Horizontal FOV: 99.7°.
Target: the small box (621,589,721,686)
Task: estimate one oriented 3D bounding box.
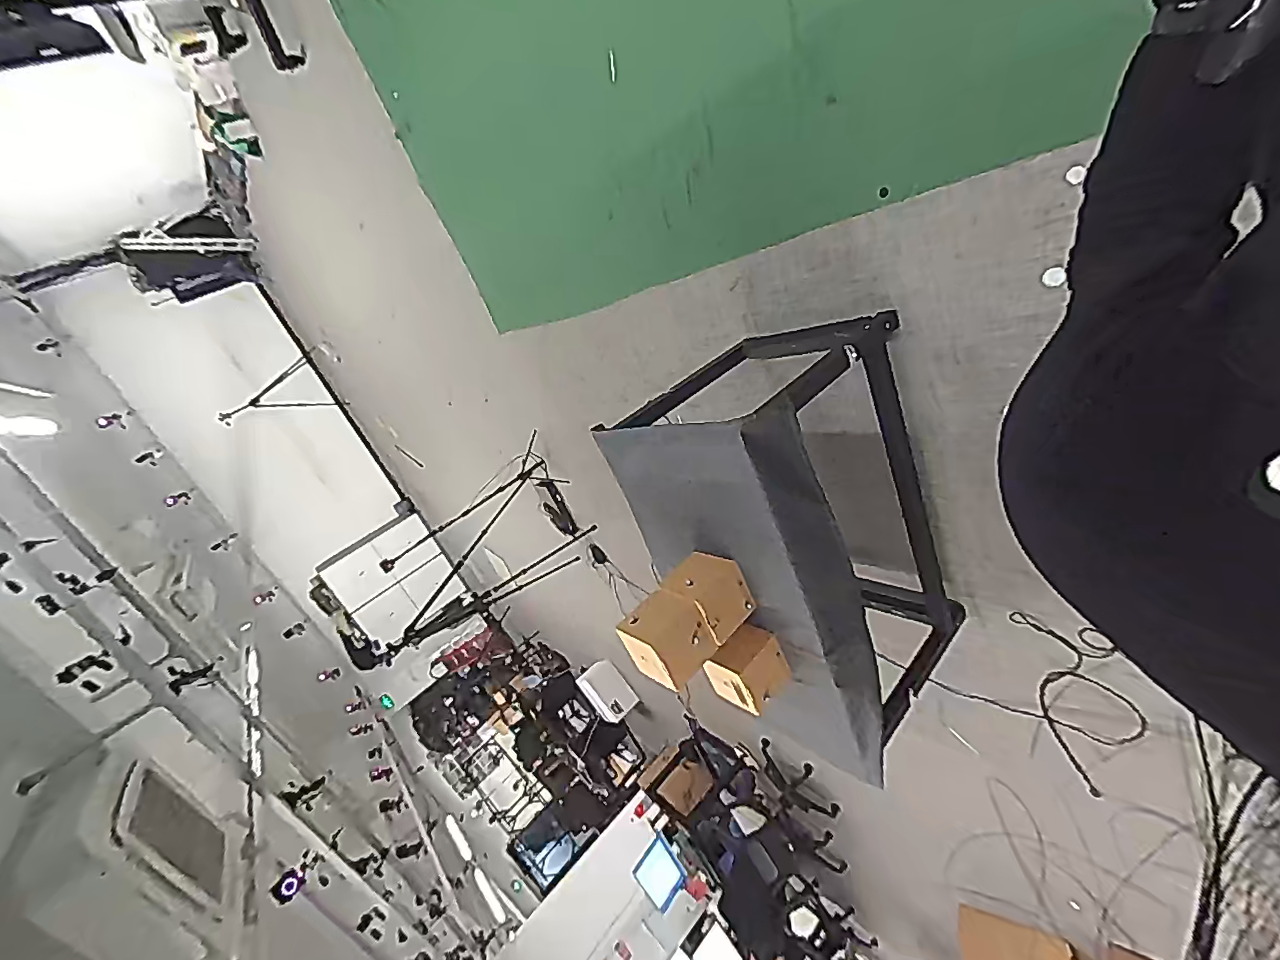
[{"bbox_3d":[0.085,0.417,1.467,0.179,0.176,0.168,3,126,55],"label":"small box"}]

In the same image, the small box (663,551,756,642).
[{"bbox_3d":[0.204,0.319,1.526,0.179,0.176,0.168,6,128,55],"label":"small box"}]
